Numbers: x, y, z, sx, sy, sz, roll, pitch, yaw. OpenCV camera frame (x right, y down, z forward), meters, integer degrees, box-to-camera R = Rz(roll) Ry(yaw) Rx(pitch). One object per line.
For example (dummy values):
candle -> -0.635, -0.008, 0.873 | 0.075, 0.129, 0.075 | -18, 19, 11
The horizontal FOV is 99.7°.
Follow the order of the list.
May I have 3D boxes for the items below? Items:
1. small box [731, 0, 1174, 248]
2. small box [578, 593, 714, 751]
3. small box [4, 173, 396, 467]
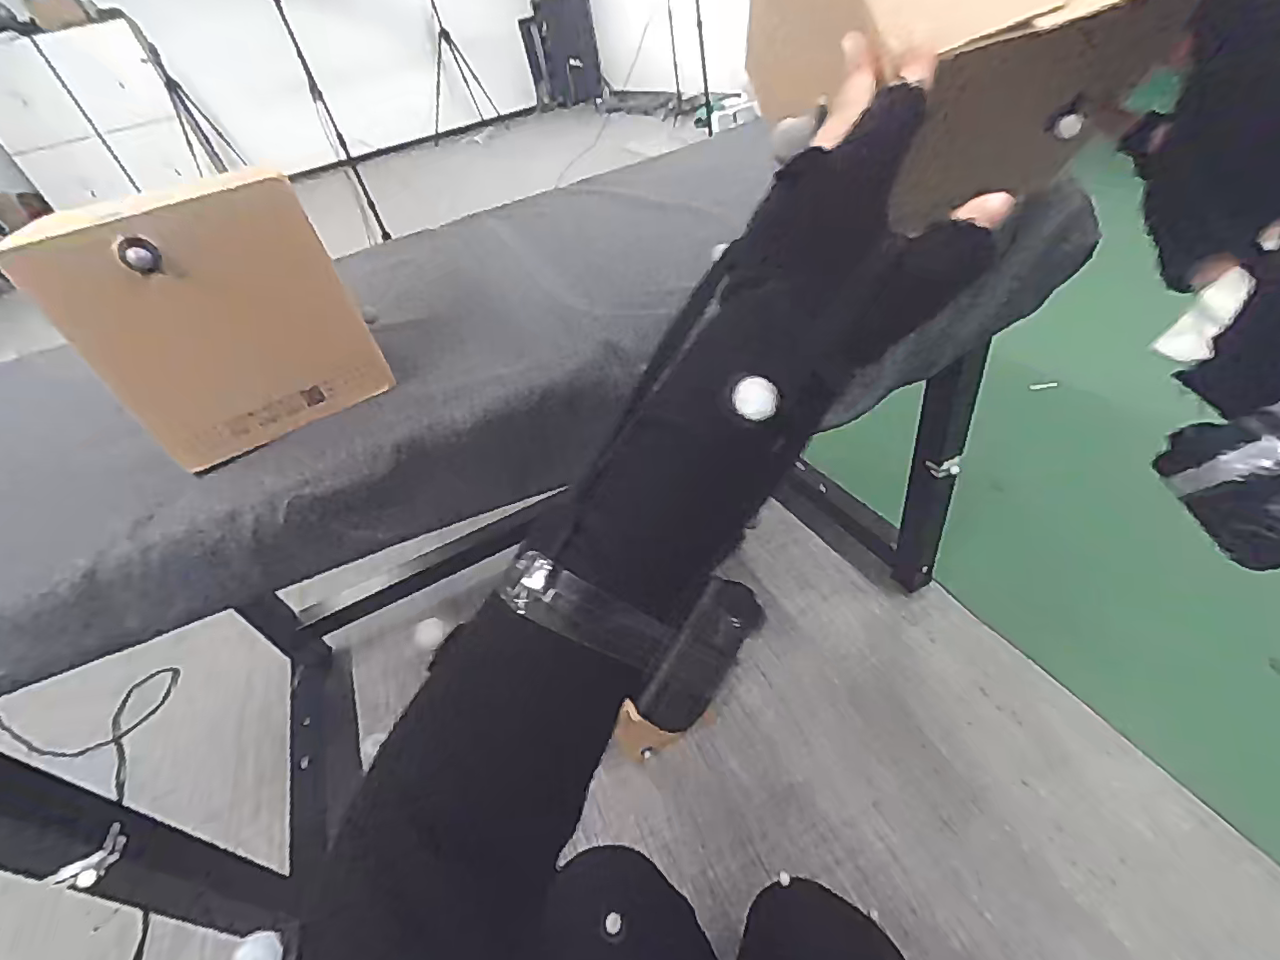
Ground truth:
small box -> 0.159, -0.267, 0.321 | 0.168, 0.176, 0.179 | -19, 81, 4
small box -> 0.013, 0.336, 0.934 | 0.168, 0.176, 0.179 | -24, 40, -11
small box -> -0.332, -0.138, 0.450 | 0.168, 0.176, 0.179 | -30, 41, -18
